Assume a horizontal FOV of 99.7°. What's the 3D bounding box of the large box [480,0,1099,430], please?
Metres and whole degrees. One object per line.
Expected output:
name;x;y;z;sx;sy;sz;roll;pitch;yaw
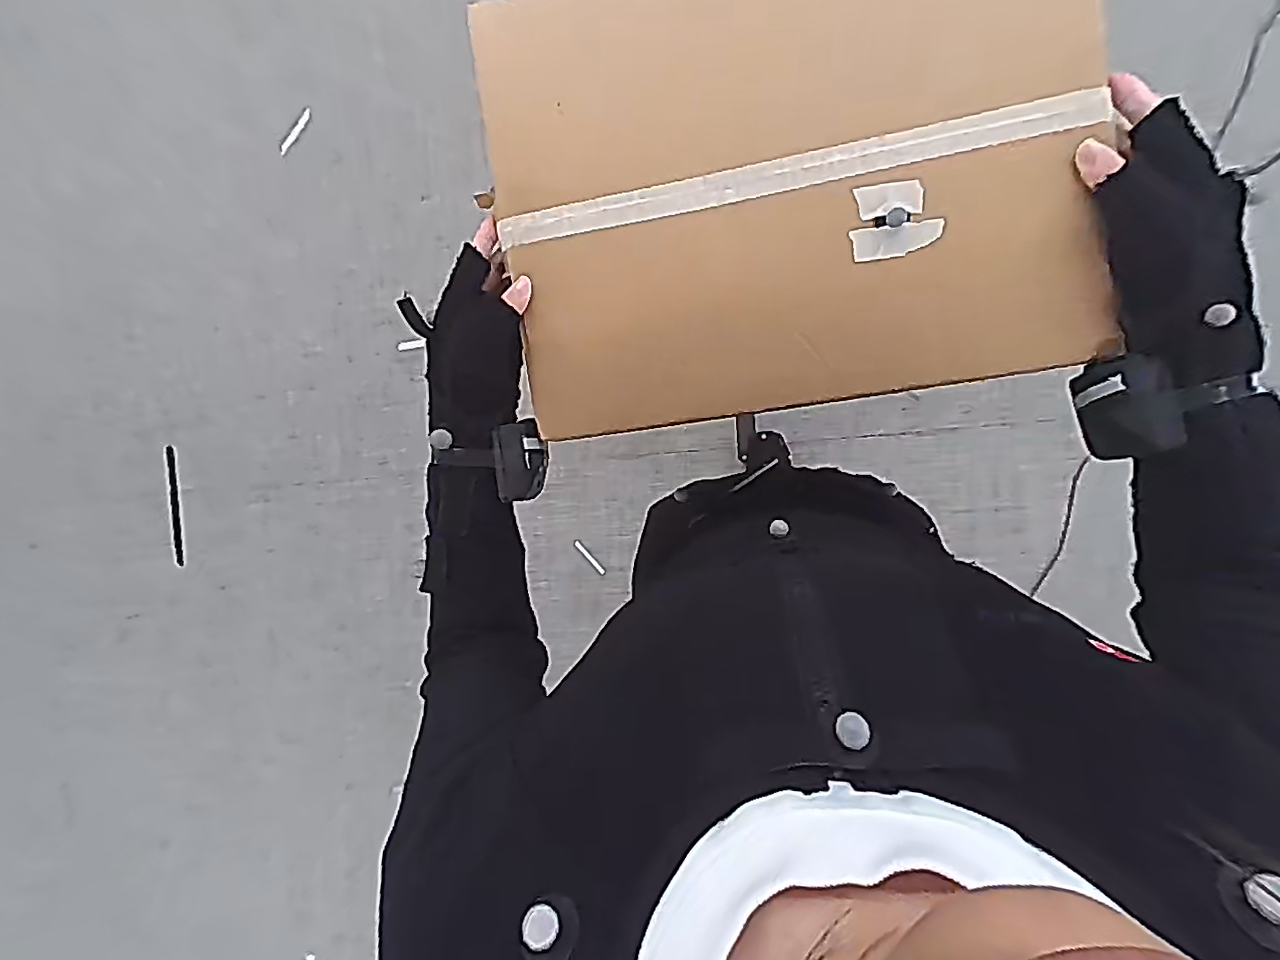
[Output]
large box;0.115;-0.237;0.531;0.408;0.320;0.320;-8;97;8
